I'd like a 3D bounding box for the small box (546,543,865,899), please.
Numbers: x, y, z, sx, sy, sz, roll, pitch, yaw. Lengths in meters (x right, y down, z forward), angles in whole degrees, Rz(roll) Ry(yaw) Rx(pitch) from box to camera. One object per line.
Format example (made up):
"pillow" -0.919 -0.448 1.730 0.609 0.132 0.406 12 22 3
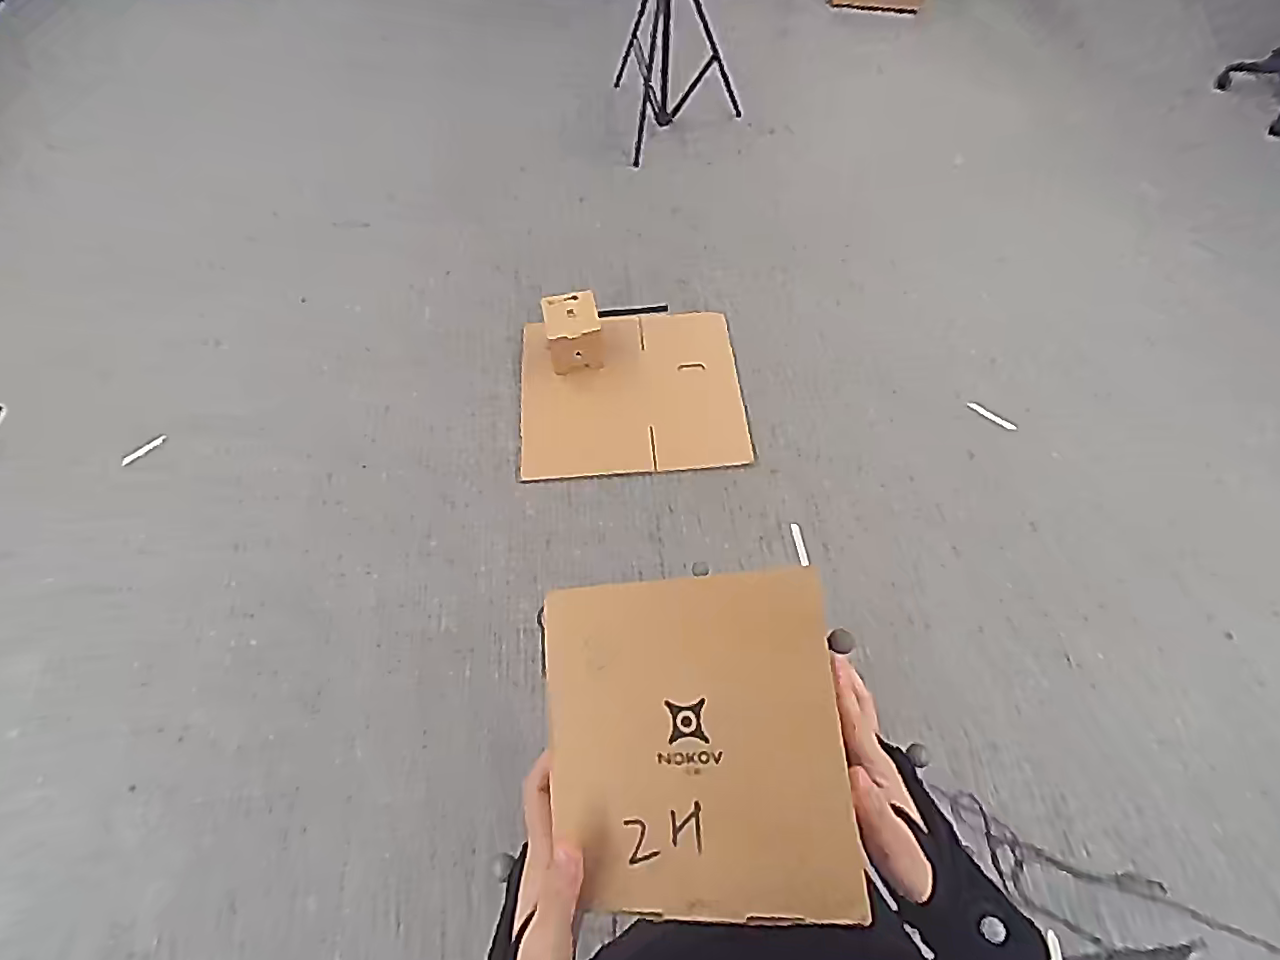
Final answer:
"small box" 0.044 0.148 0.375 0.168 0.176 0.179 -8 75 13

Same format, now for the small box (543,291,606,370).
"small box" -0.205 -0.467 1.722 0.168 0.176 0.179 -11 64 -5
